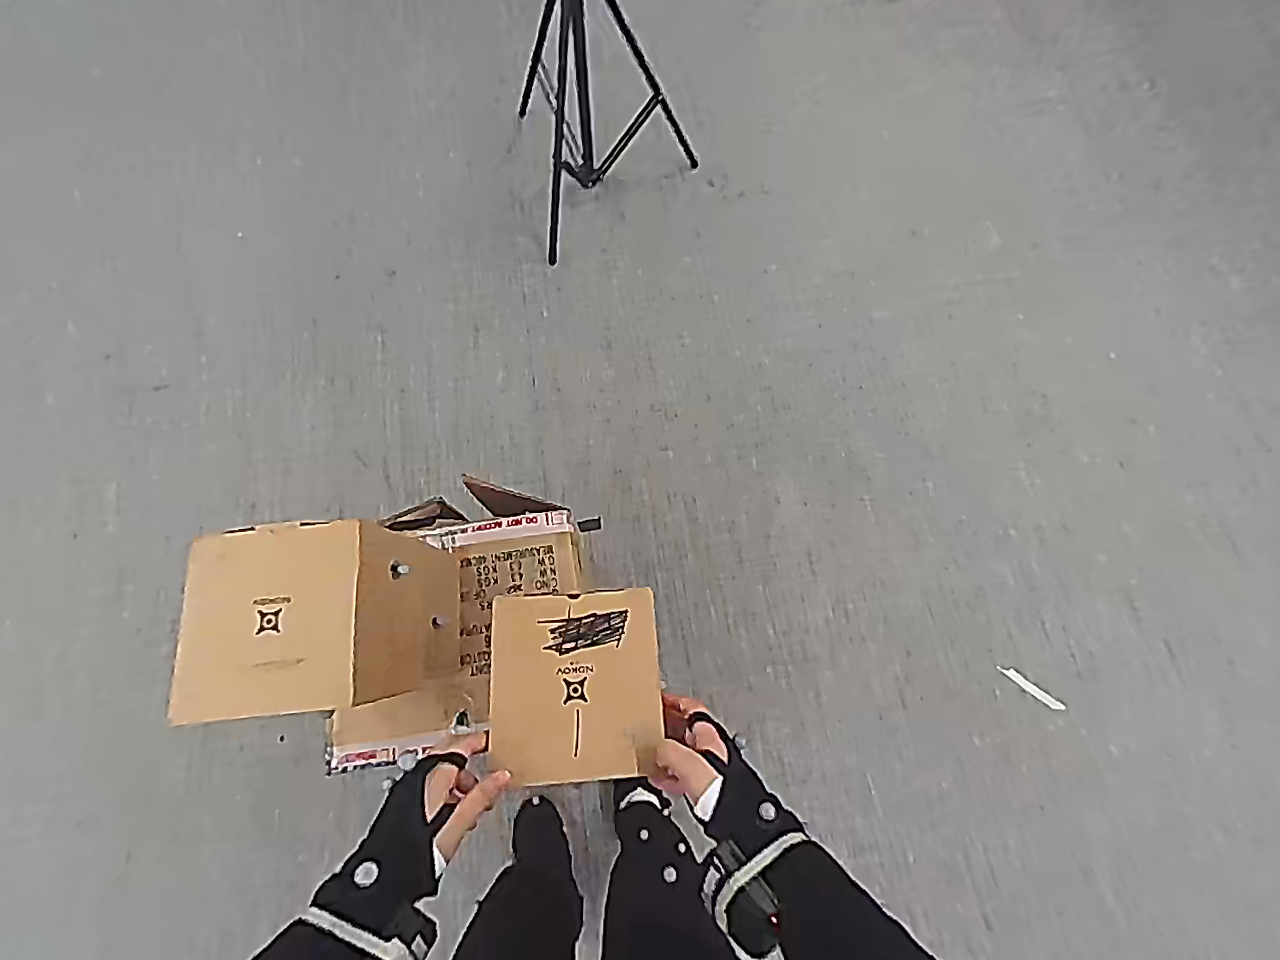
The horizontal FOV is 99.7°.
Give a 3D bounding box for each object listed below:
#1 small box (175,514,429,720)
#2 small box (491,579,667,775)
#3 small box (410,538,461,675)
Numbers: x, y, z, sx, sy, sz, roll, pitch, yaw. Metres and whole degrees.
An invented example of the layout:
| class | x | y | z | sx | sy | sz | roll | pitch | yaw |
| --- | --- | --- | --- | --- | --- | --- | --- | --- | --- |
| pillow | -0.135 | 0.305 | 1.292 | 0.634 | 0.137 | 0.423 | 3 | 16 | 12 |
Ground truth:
| class | x | y | z | sx | sy | sz | roll | pitch | yaw |
| --- | --- | --- | --- | --- | --- | --- | --- | --- | --- |
| small box | -0.340 | 0.144 | 0.580 | 0.168 | 0.176 | 0.179 | -6 | 76 | -1 |
| small box | -0.068 | 0.218 | 0.603 | 0.168 | 0.176 | 0.179 | -2 | 67 | -6 |
| small box | -0.352 | 0.183 | 0.739 | 0.168 | 0.176 | 0.179 | -6 | 75 | -2 |
